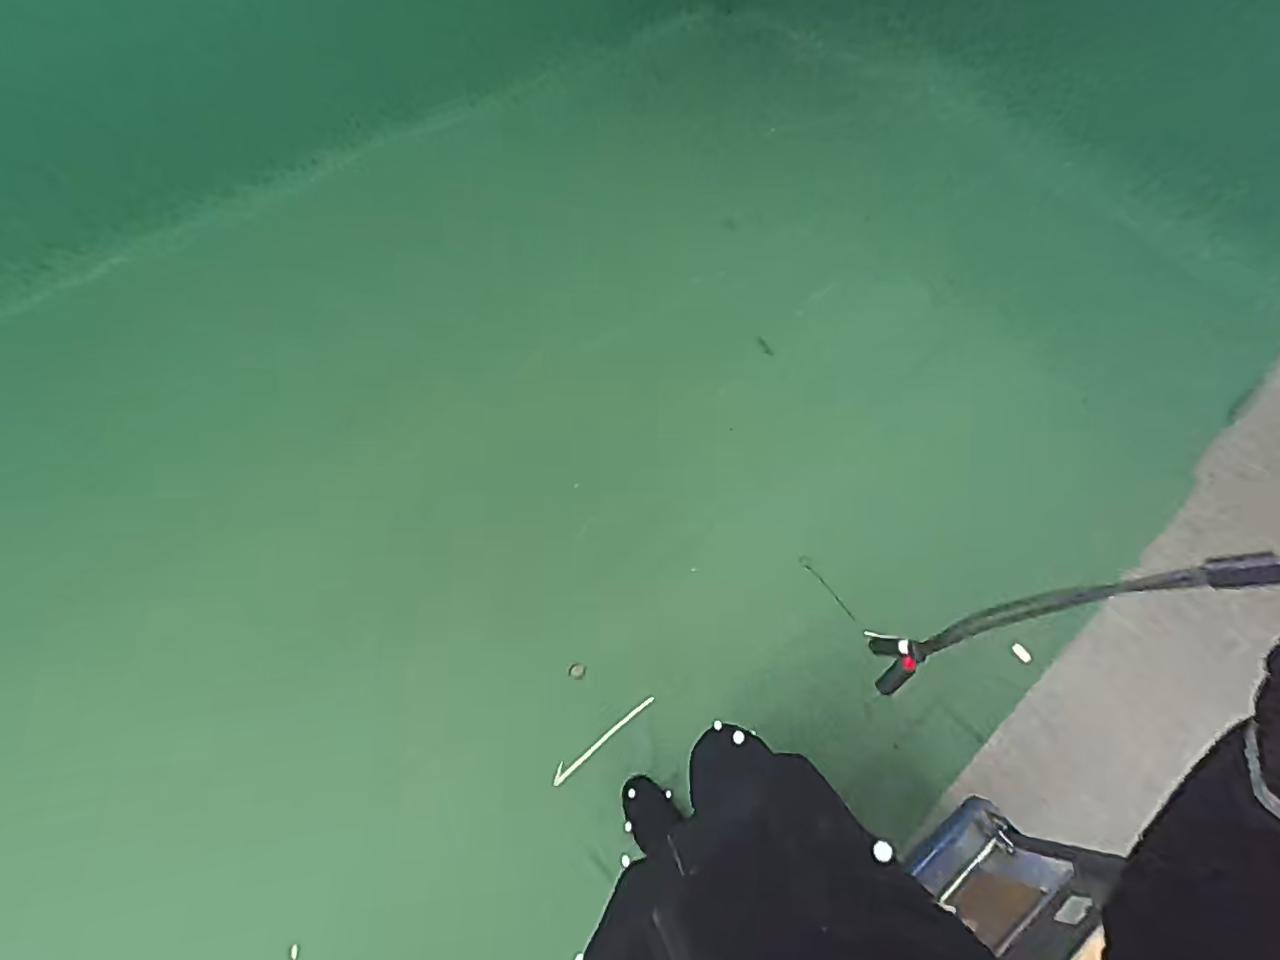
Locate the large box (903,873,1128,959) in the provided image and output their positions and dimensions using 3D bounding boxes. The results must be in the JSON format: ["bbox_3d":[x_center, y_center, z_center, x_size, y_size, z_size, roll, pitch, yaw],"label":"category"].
[{"bbox_3d":[0.717,0.991,0.912,0.320,0.320,0.408,-34,72,-16],"label":"large box"}]
